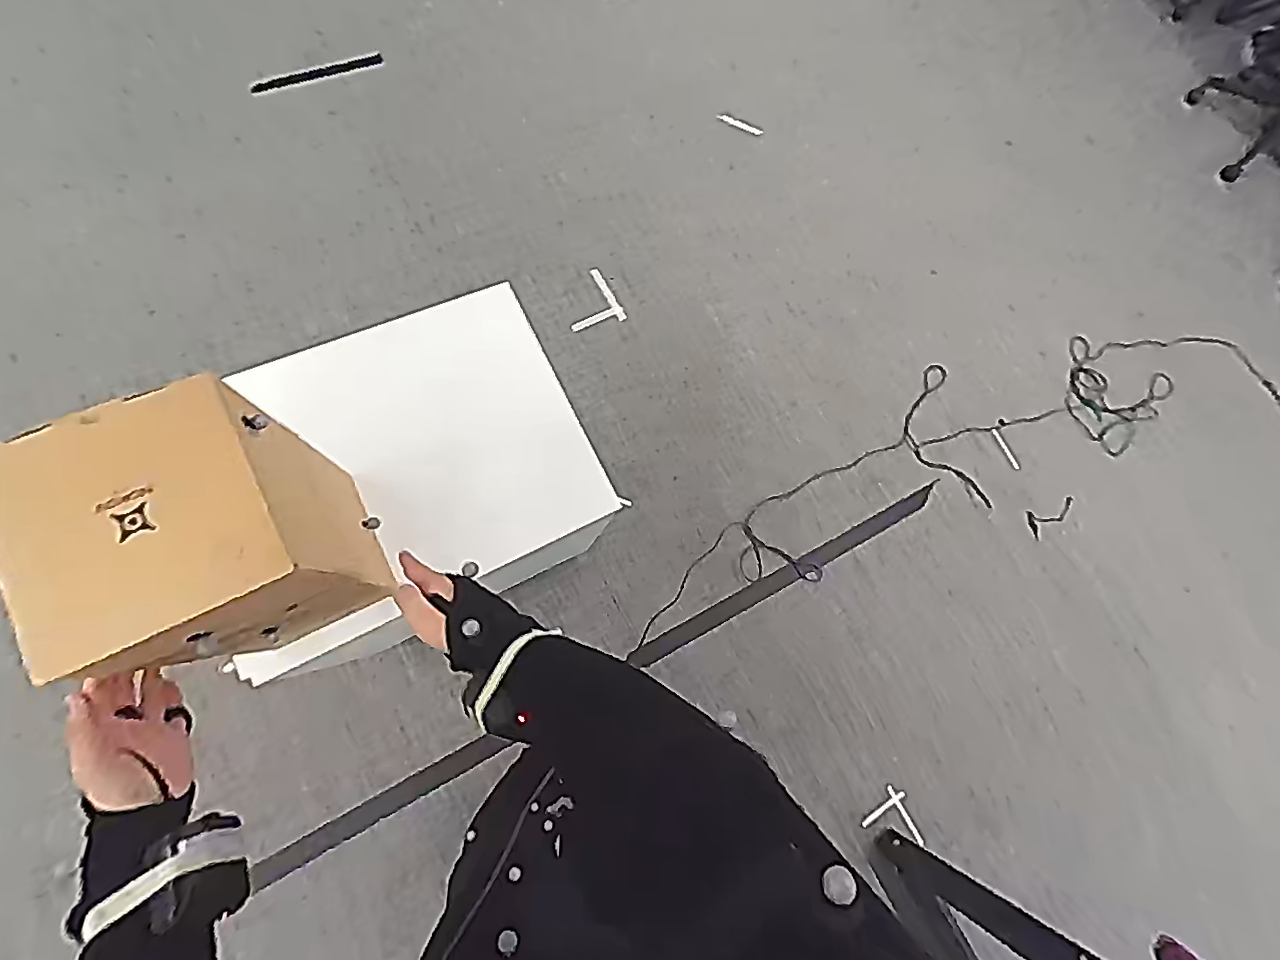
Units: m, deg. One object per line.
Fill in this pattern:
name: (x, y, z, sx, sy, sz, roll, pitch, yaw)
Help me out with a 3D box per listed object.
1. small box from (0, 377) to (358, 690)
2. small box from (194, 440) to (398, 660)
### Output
small box: (-0.373, 0.047, 0.459, 0.168, 0.176, 0.179, -27, 82, -16)
small box: (-0.404, 0.085, 0.615, 0.168, 0.176, 0.179, -25, 81, -16)
